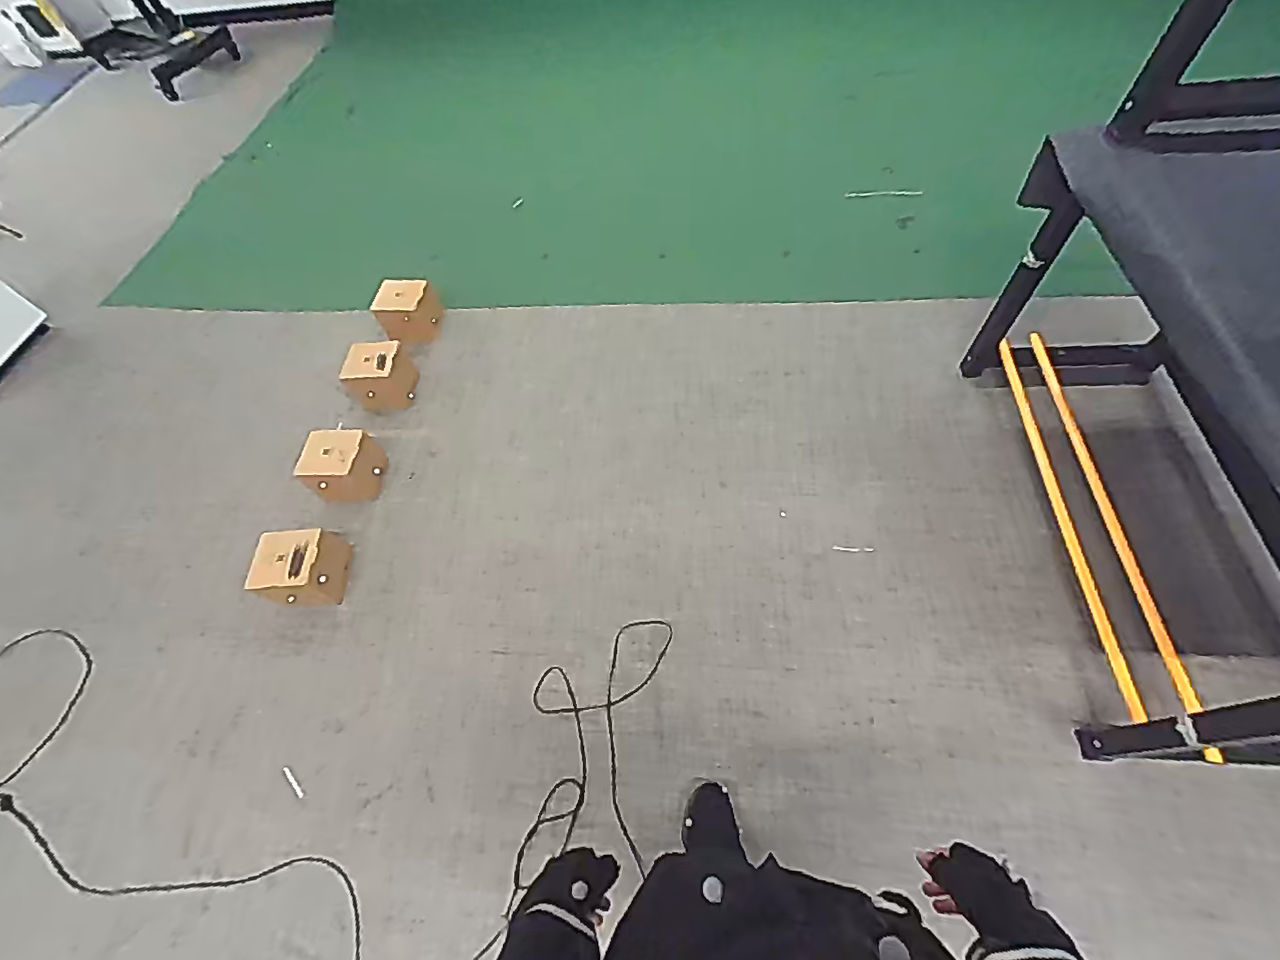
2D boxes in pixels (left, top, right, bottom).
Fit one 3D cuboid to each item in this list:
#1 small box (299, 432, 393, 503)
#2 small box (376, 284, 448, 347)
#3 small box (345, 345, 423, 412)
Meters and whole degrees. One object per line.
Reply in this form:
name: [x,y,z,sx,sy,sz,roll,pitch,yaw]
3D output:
small box: [-0.921,-0.036,1.709,0.179,0.176,0.168,0,60,5]
small box: [-0.867,-0.629,2.076,0.179,0.176,0.168,3,59,6]
small box: [-0.893,-0.354,1.906,0.179,0.176,0.168,-2,58,5]
